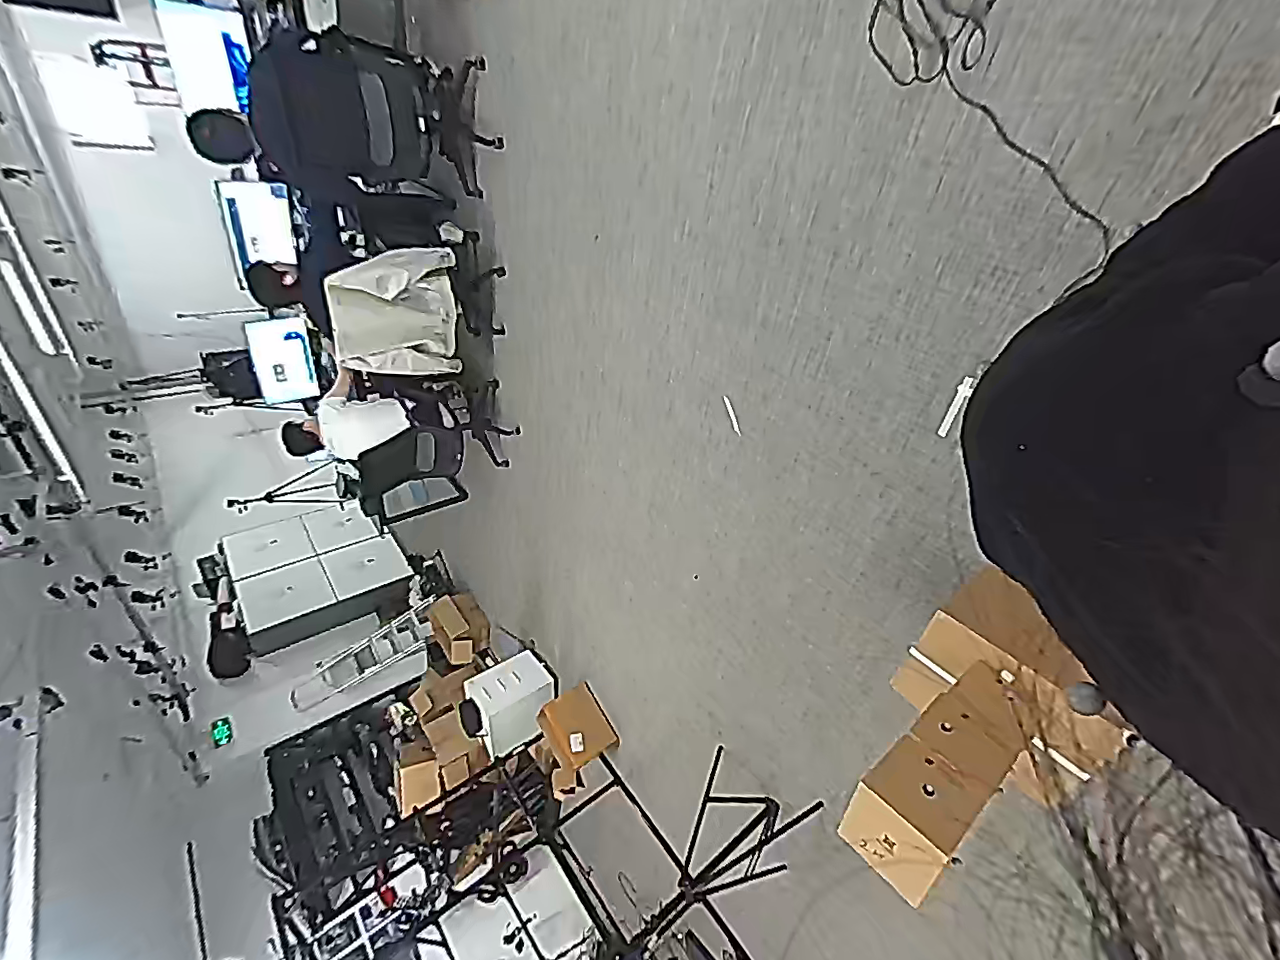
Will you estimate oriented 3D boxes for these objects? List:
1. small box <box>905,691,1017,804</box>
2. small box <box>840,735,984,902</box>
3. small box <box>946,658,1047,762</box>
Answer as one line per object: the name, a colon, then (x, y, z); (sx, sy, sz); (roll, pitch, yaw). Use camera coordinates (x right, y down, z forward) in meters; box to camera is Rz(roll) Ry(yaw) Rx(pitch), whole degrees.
small box: (0.642, 0.579, 1.122); (0.168, 0.176, 0.179); (38, 134, 39)
small box: (0.517, 0.629, 1.026); (0.168, 0.176, 0.179); (34, 131, 42)
small box: (0.769, 0.542, 1.216); (0.168, 0.176, 0.179); (38, 133, 37)
